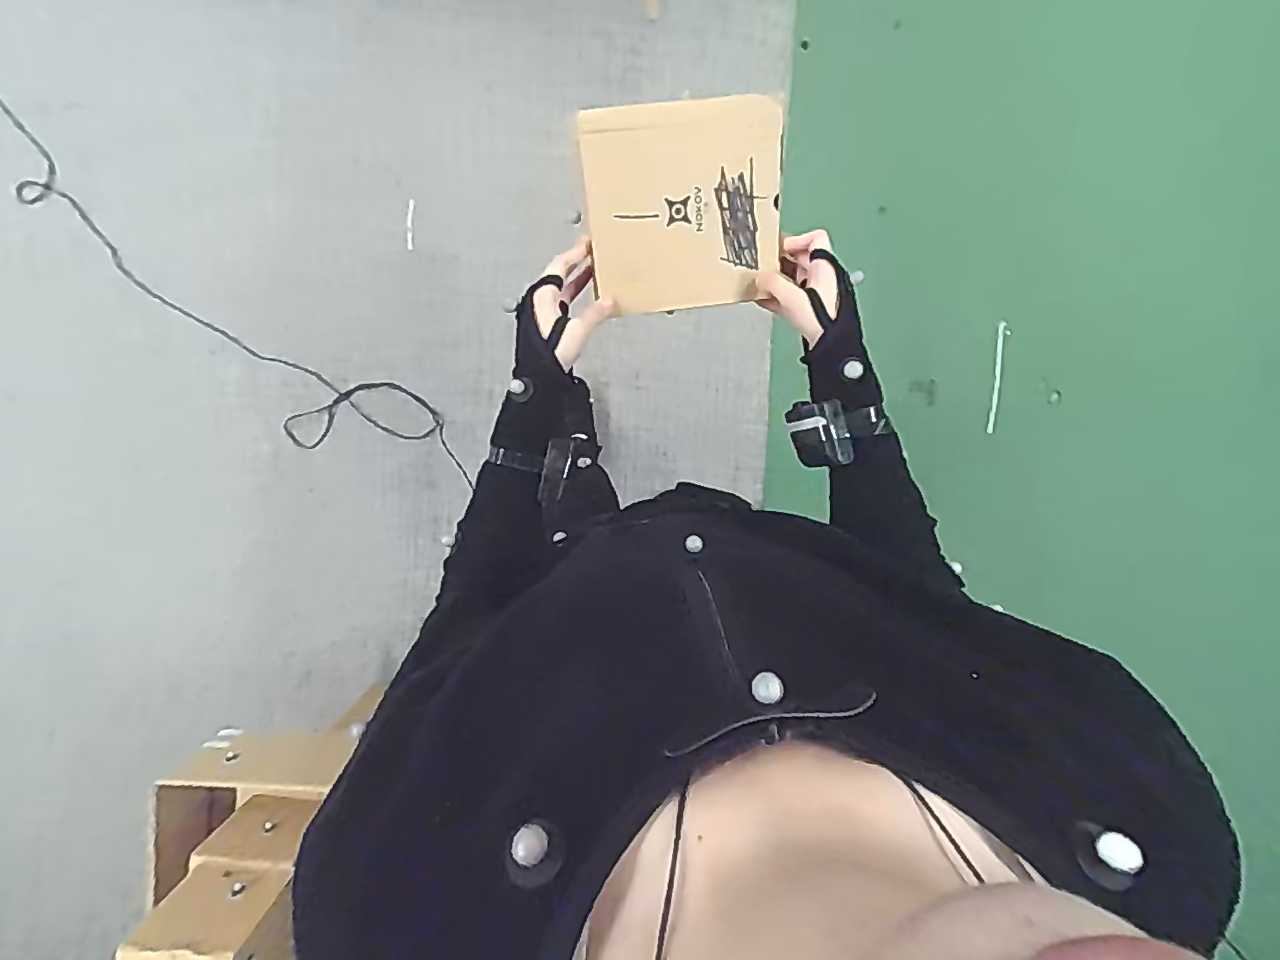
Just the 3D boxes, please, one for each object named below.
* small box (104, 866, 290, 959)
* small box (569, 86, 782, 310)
[{"bbox_3d":[-0.680,0.753,0.841,0.168,0.176,0.179,7,92,-3],"label":"small box"},{"bbox_3d":[0.027,-0.274,0.541,0.179,0.176,0.168,-8,115,-4],"label":"small box"}]
